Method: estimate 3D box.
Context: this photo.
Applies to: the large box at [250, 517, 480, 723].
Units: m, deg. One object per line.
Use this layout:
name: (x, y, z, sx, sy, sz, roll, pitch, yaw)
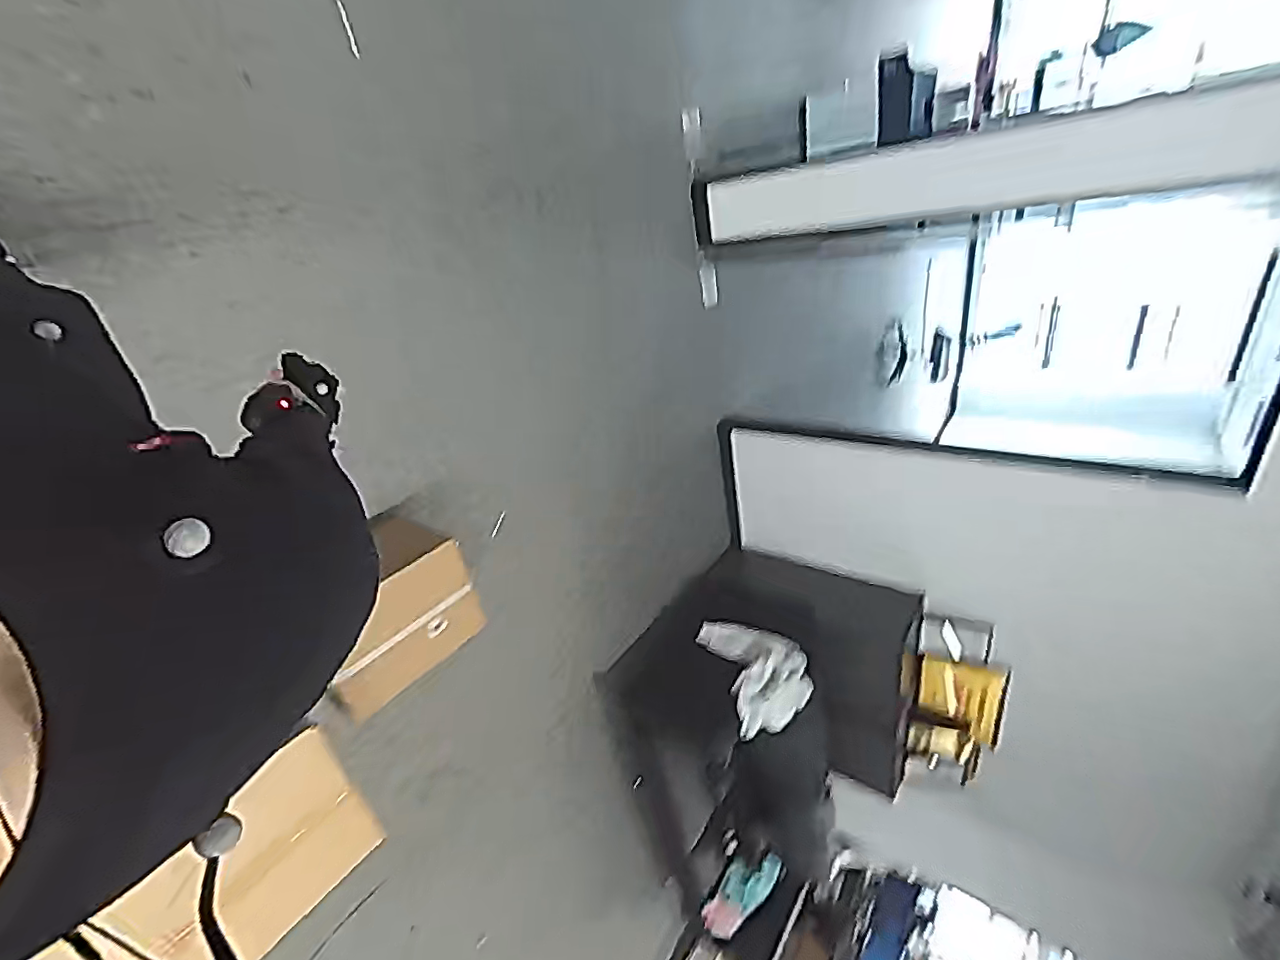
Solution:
large box: (-0.721, 0.347, 1.458, 0.408, 0.320, 0.320, -36, 128, -43)
